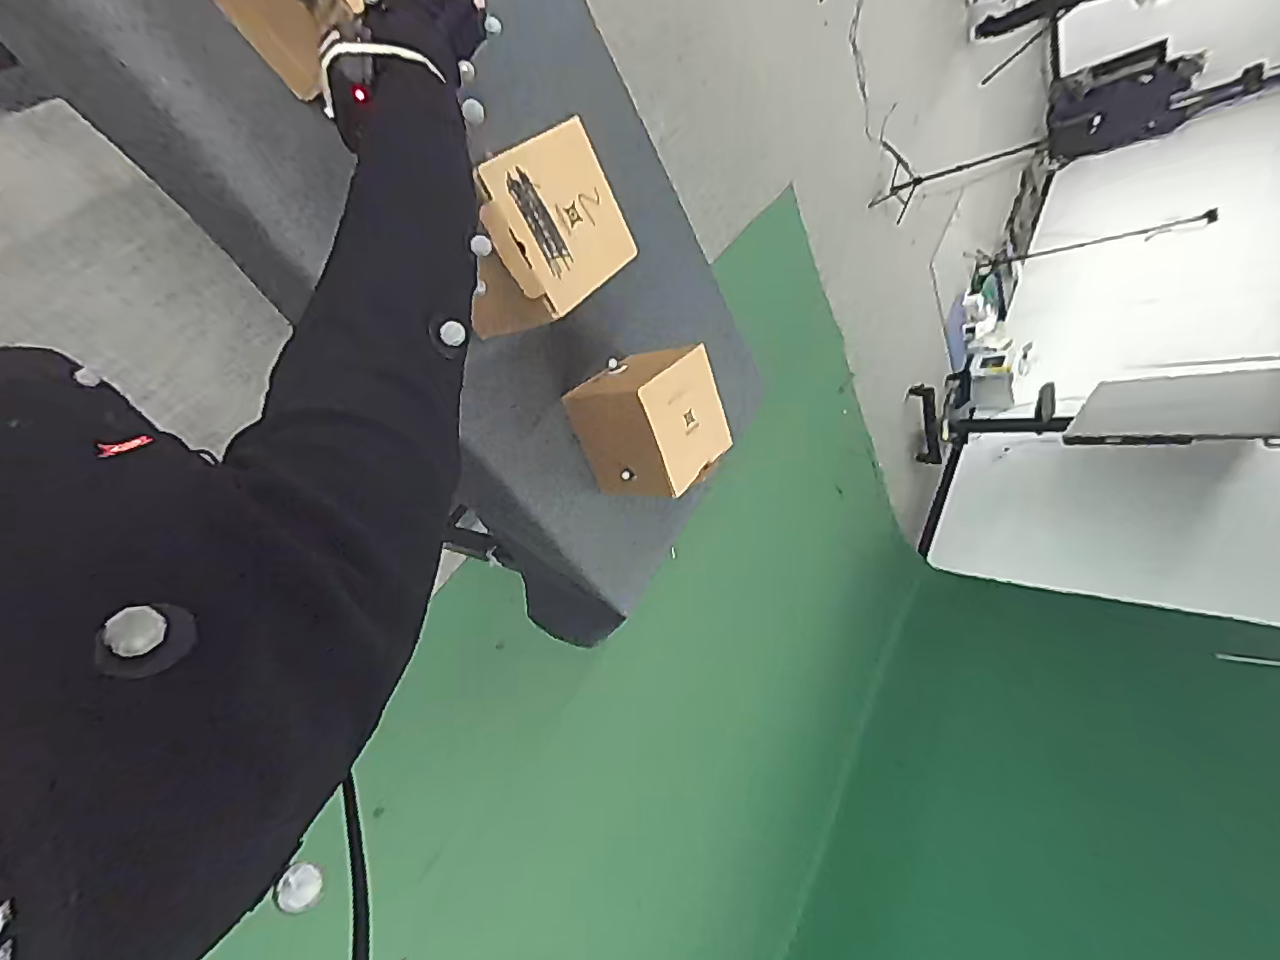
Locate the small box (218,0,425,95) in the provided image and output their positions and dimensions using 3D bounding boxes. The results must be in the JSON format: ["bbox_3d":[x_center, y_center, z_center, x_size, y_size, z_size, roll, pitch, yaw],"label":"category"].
[{"bbox_3d":[-0.304,-0.507,0.492,0.179,0.176,0.168,49,59,-38],"label":"small box"}]

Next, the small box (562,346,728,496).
[{"bbox_3d":[0.009,-0.094,0.858,0.168,0.176,0.179,-41,120,-37],"label":"small box"}]
